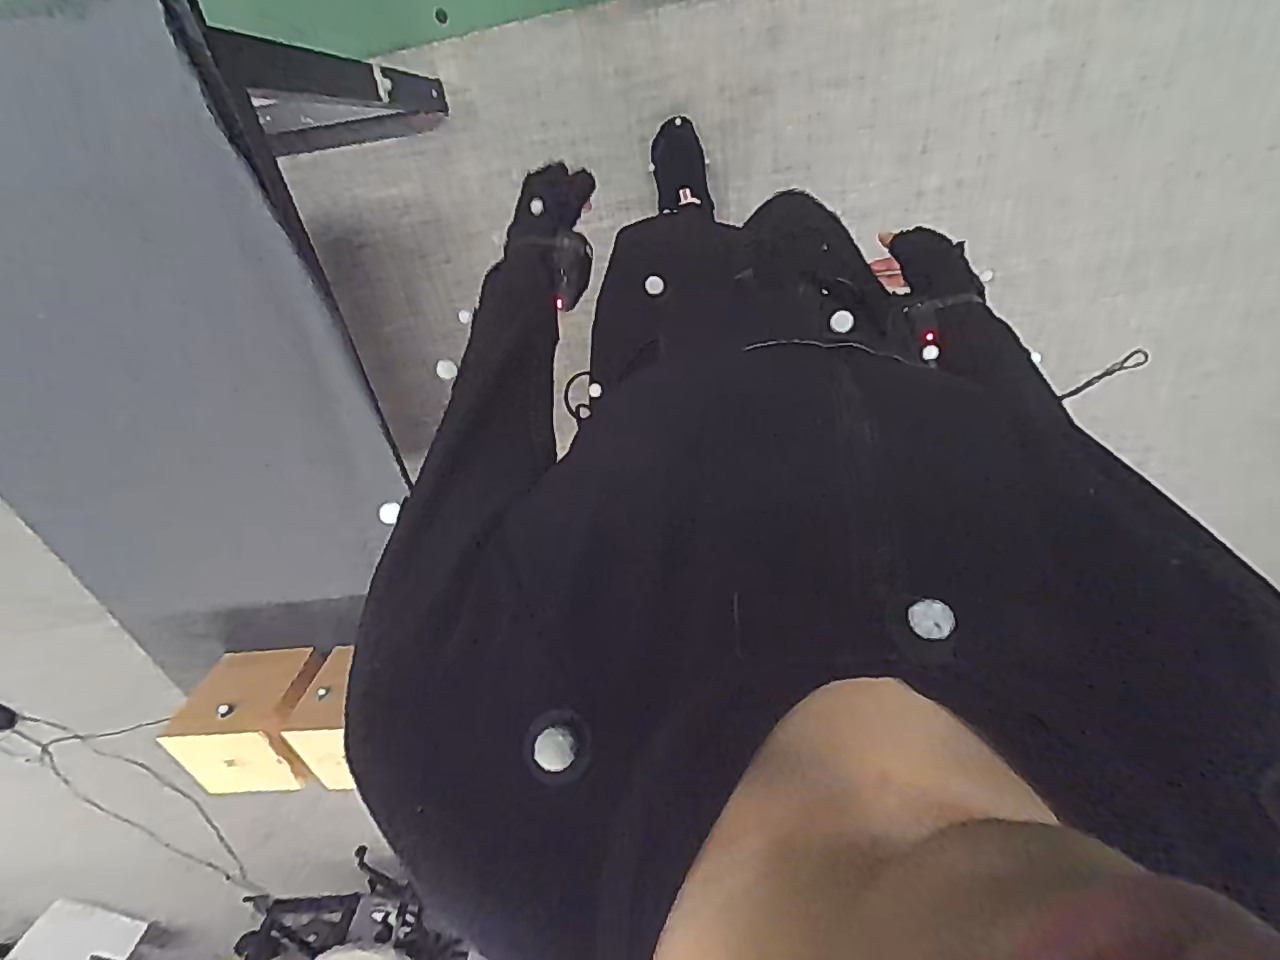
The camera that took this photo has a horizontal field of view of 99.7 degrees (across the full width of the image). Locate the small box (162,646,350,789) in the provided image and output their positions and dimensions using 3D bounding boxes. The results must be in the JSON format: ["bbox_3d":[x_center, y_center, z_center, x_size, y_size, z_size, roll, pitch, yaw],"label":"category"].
[{"bbox_3d":[-0.657,0.413,0.952,0.179,0.176,0.168,-5,123,4],"label":"small box"}]
